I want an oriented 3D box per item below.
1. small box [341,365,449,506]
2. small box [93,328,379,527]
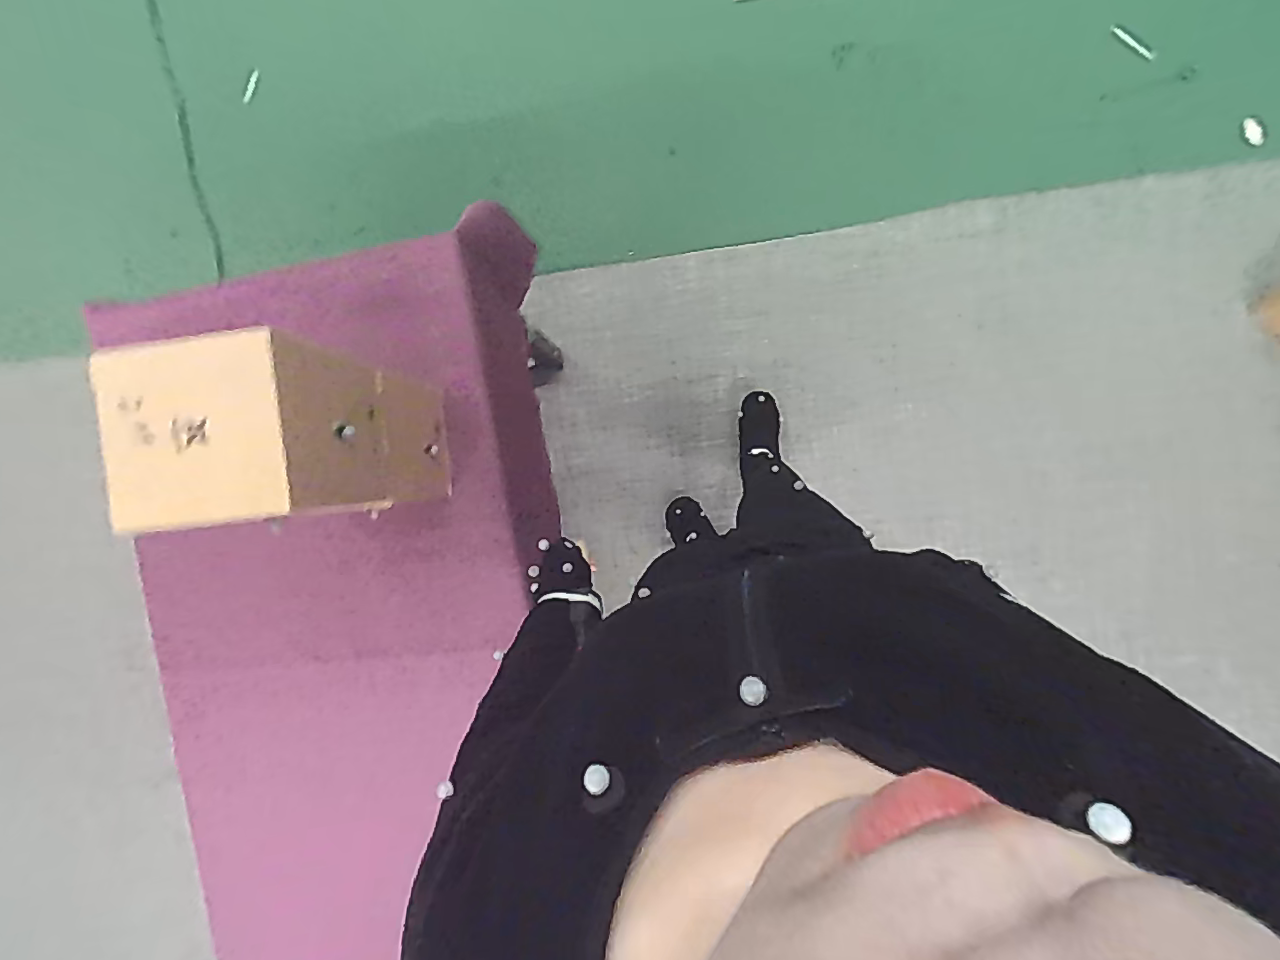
[{"bbox_3d":[-0.382,-0.050,0.730,0.179,0.176,0.168,-6,91,4],"label":"small box"},{"bbox_3d":[-0.396,-0.048,0.565,0.179,0.176,0.168,-7,90,5],"label":"small box"}]
